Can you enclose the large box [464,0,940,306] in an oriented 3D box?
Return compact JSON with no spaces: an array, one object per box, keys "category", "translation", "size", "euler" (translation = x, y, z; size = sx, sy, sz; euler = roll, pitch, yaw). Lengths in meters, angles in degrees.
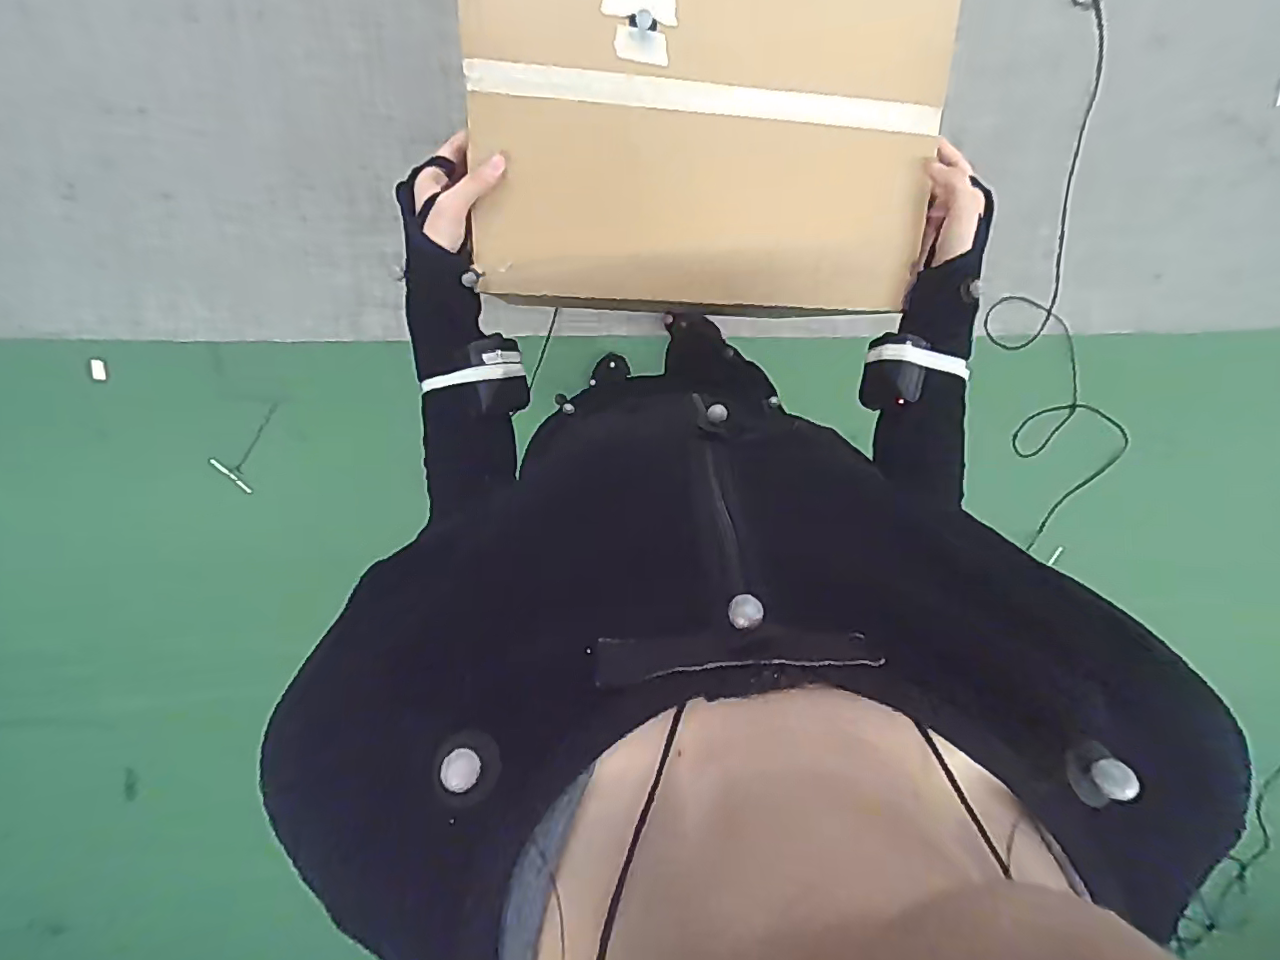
[{"category":"large box","translation":[0.039,-0.360,0.604],"size":[0.408,0.320,0.320],"euler":[0,105,-8]}]
